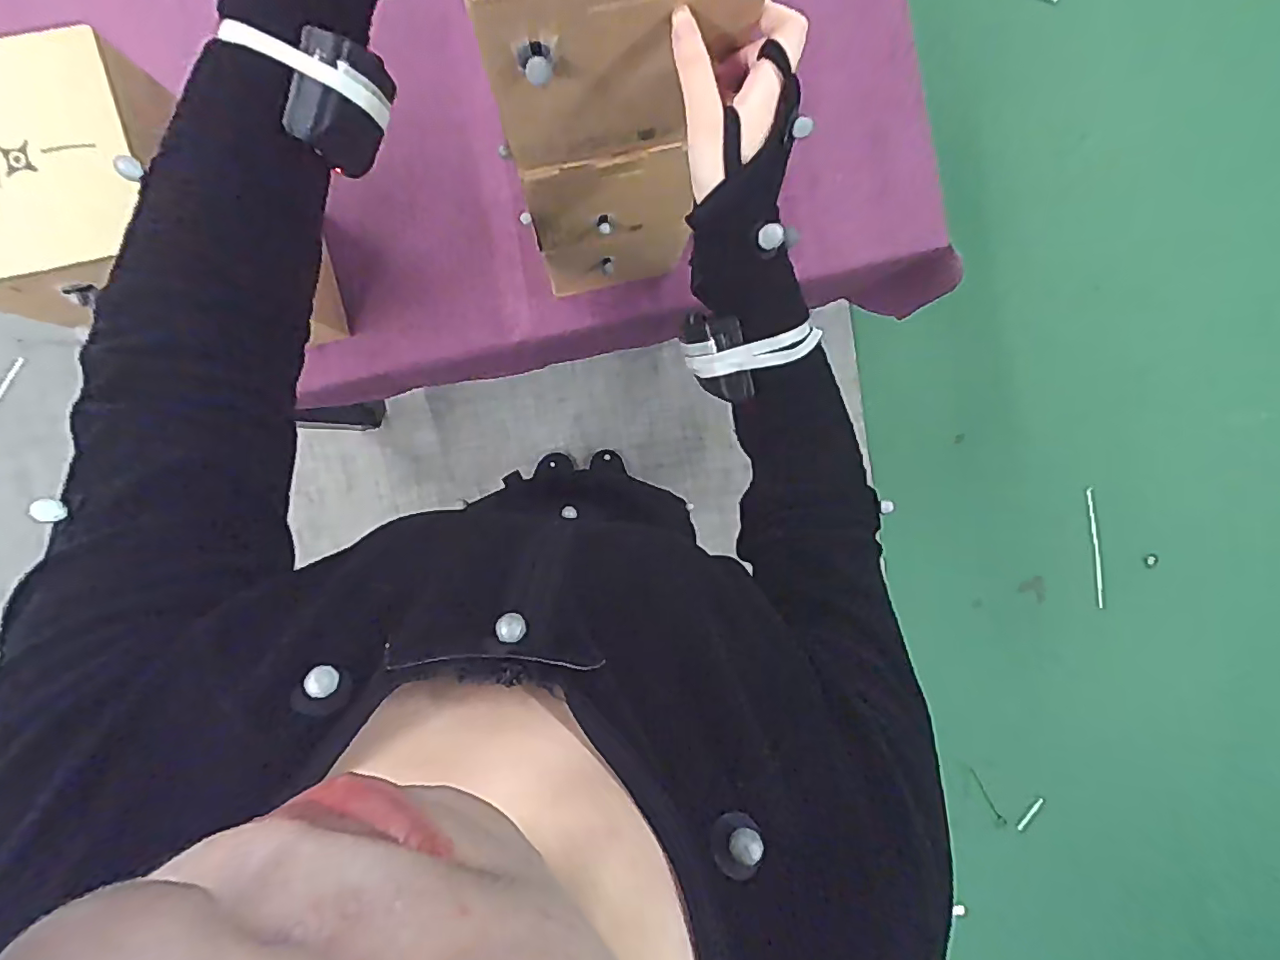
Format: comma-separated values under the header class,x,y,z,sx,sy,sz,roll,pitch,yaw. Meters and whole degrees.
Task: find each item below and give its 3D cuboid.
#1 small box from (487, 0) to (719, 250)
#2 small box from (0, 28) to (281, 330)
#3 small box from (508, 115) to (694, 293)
class,x,y,z,sx,sy,sz,roll,pitch,yaw
small box,-0.038,-0.345,0.509,0.168,0.176,0.179,-13,95,-4
small box,-0.472,-0.244,0.483,0.179,0.176,0.168,-13,95,-4
small box,-0.045,-0.349,0.672,0.179,0.176,0.168,-14,95,-2
